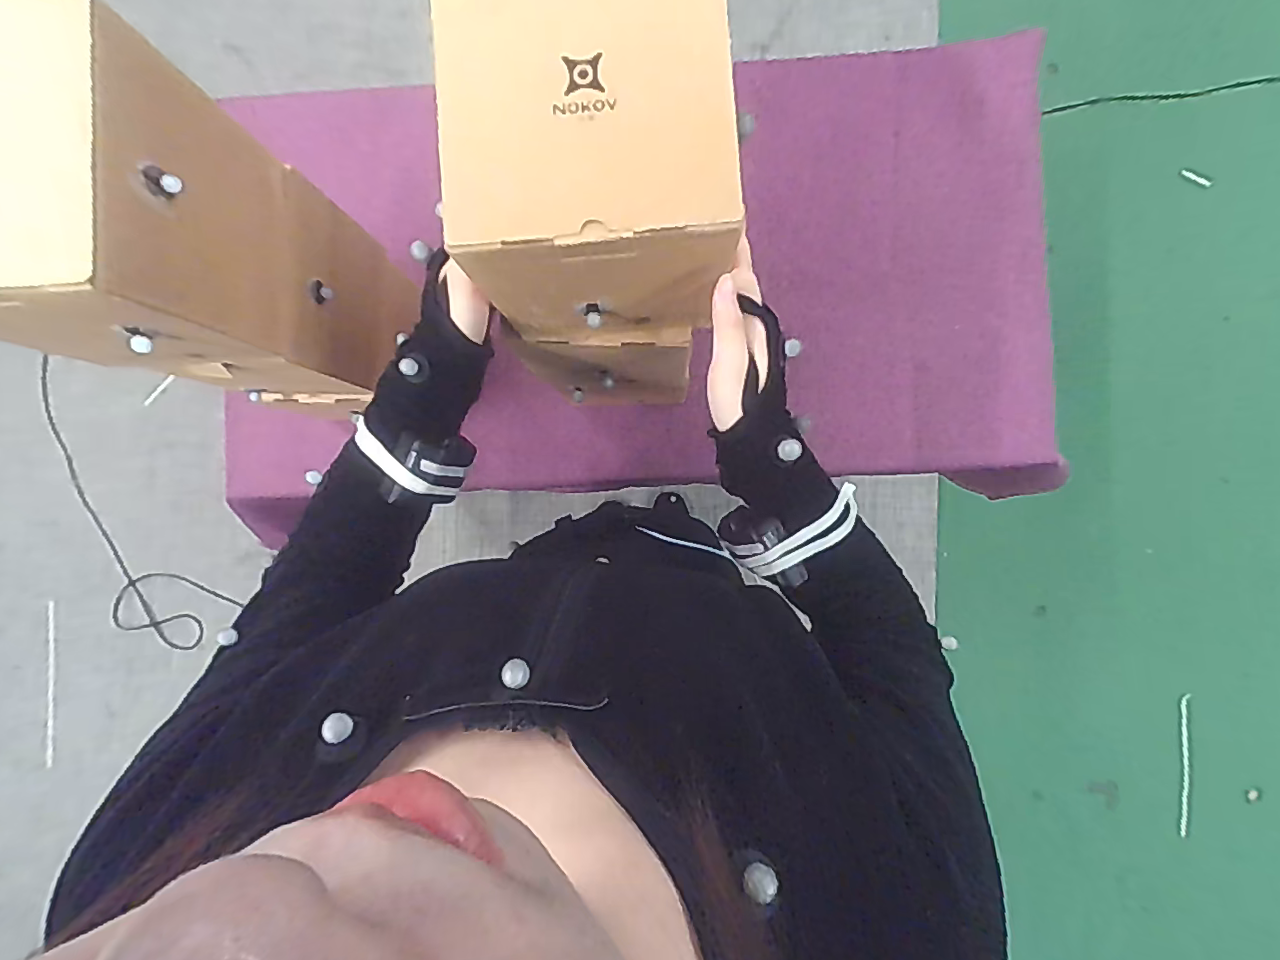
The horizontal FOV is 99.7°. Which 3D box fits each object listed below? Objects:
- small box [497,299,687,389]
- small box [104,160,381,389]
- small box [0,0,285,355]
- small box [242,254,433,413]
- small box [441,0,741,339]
[{"bbox_3d":[-0.035,-0.198,0.545,0.168,0.176,0.179,3,89,2],"label":"small box"},{"bbox_3d":[-0.385,-0.193,0.551,0.168,0.176,0.179,2,88,1],"label":"small box"},{"bbox_3d":[-0.387,-0.192,0.388,0.168,0.176,0.179,0,89,0],"label":"small box"},{"bbox_3d":[-0.385,-0.183,0.715,0.168,0.176,0.179,1,90,0],"label":"small box"},{"bbox_3d":[-0.028,-0.211,0.381,0.168,0.176,0.179,-3,89,1],"label":"small box"}]
